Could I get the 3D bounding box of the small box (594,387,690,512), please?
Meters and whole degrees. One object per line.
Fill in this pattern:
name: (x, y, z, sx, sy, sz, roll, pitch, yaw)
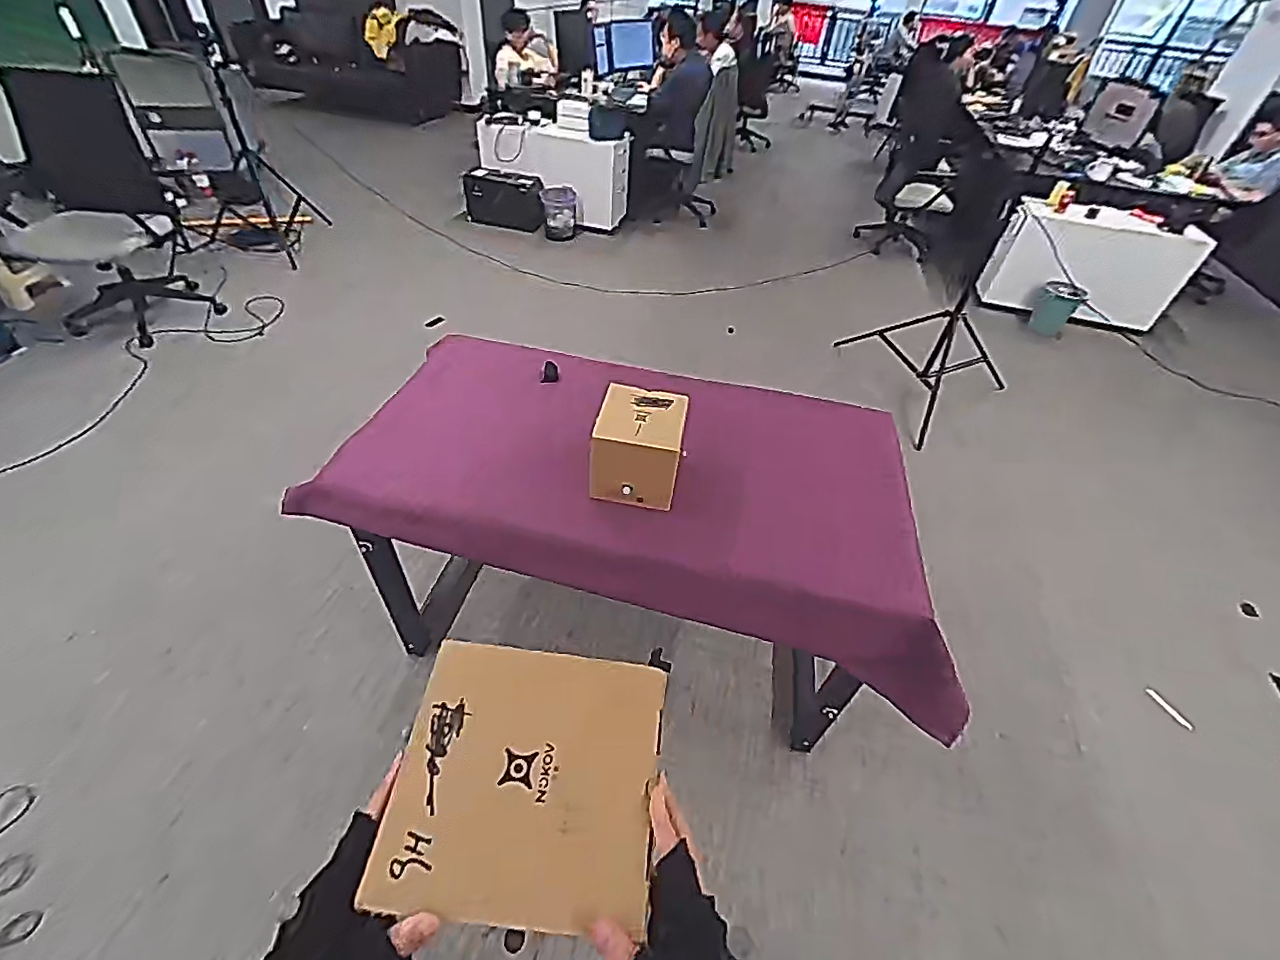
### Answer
small box: (0.002, -0.062, 1.103, 0.168, 0.176, 0.179, 10, 45, 4)
